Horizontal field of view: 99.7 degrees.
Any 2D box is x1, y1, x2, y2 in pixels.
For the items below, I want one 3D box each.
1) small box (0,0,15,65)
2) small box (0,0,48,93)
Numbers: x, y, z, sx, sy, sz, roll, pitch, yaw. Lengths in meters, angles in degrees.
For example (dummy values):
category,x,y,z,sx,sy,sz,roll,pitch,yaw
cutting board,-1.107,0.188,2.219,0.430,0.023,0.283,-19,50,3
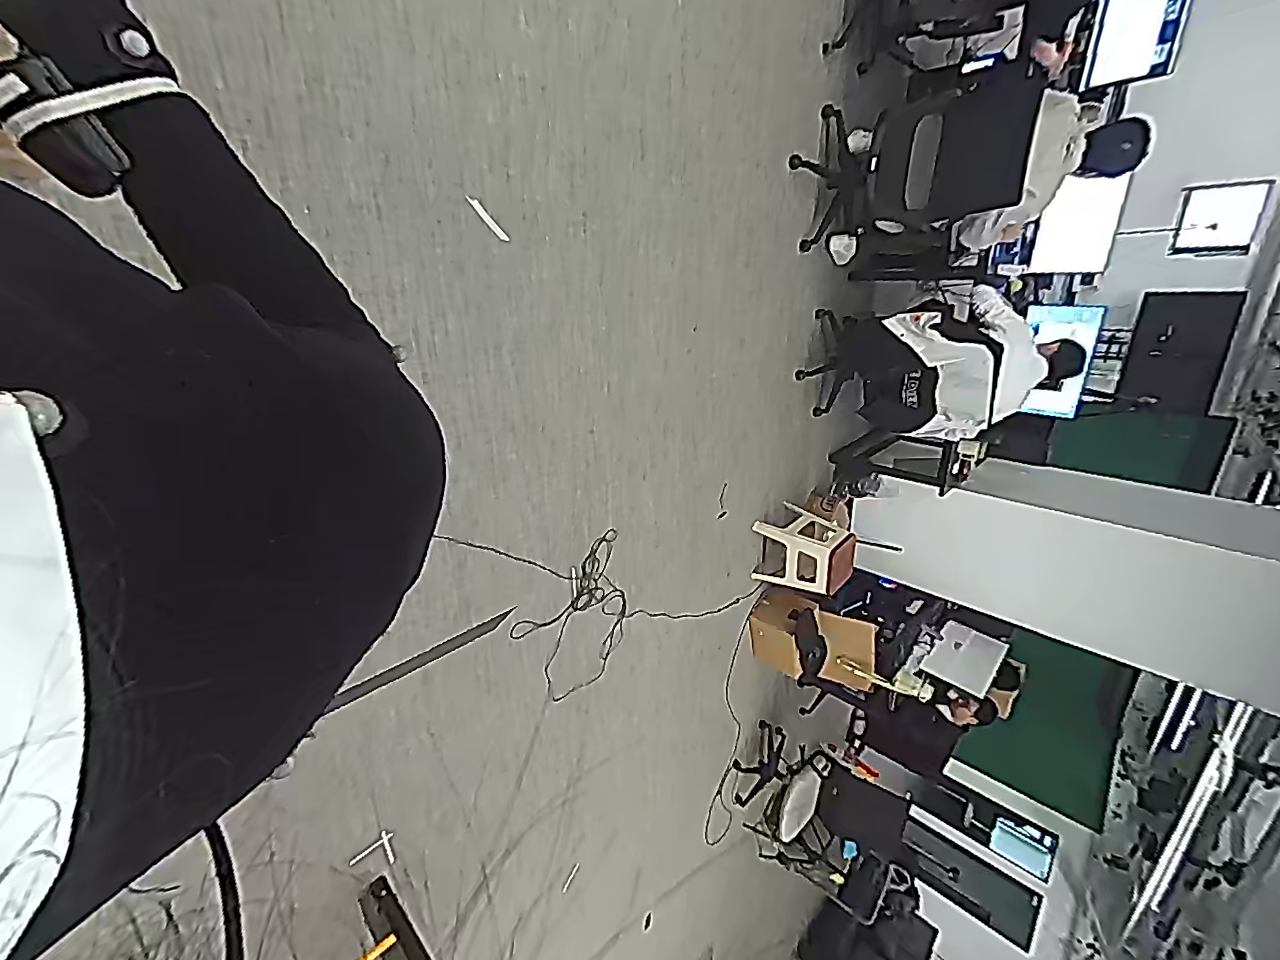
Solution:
category,x,y,z,sx,sy,sz,roll,pitch,yaw
small box,-0.608,-0.447,0.397,0.168,0.176,0.179,-15,116,-48
small box,-0.719,-0.493,0.512,0.179,0.176,0.168,-19,118,-45
